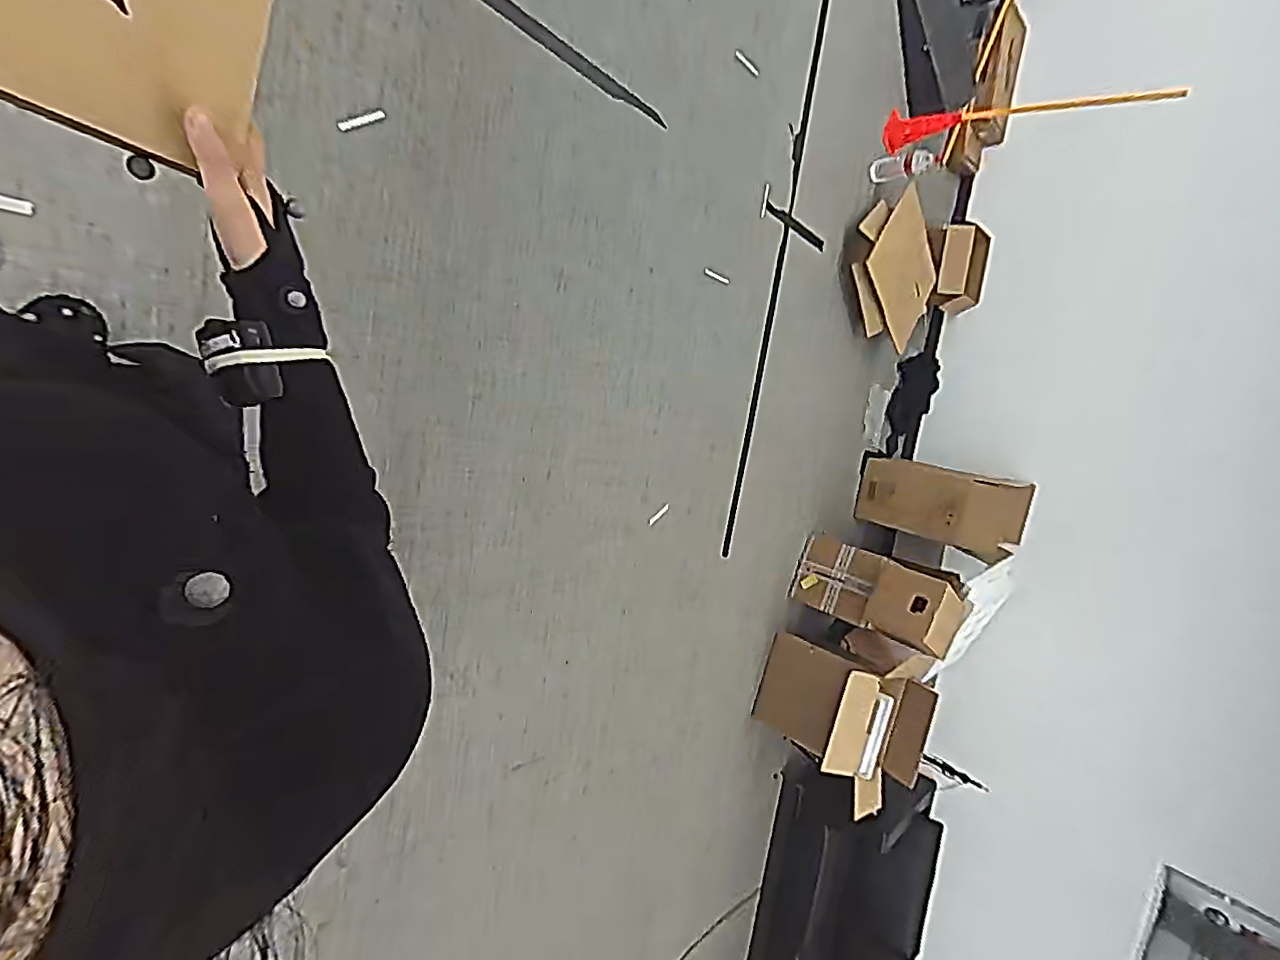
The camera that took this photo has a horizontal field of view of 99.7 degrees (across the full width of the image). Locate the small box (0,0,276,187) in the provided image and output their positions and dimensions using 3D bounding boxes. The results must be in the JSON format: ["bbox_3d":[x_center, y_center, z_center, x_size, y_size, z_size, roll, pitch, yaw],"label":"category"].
[{"bbox_3d":[-0.379,-0.325,0.358,0.179,0.176,0.168,6,107,-53],"label":"small box"}]
